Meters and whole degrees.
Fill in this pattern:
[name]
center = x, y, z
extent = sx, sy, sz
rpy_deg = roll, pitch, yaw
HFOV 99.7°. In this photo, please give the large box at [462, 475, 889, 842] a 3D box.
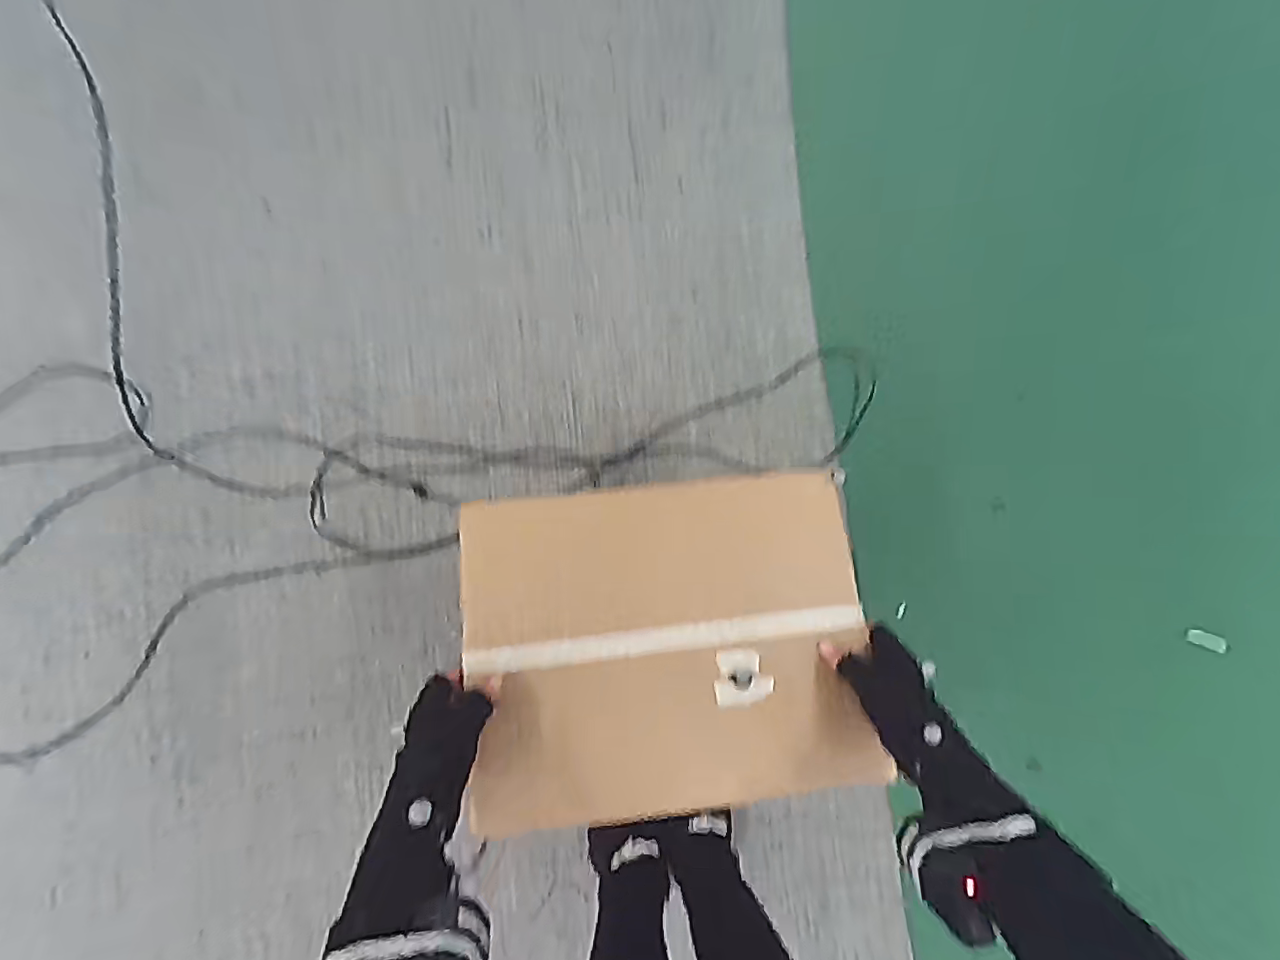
[large box]
center = 0.018, 0.203, 0.686
extent = 0.408, 0.320, 0.320
rpy_deg = -6, 75, -5
